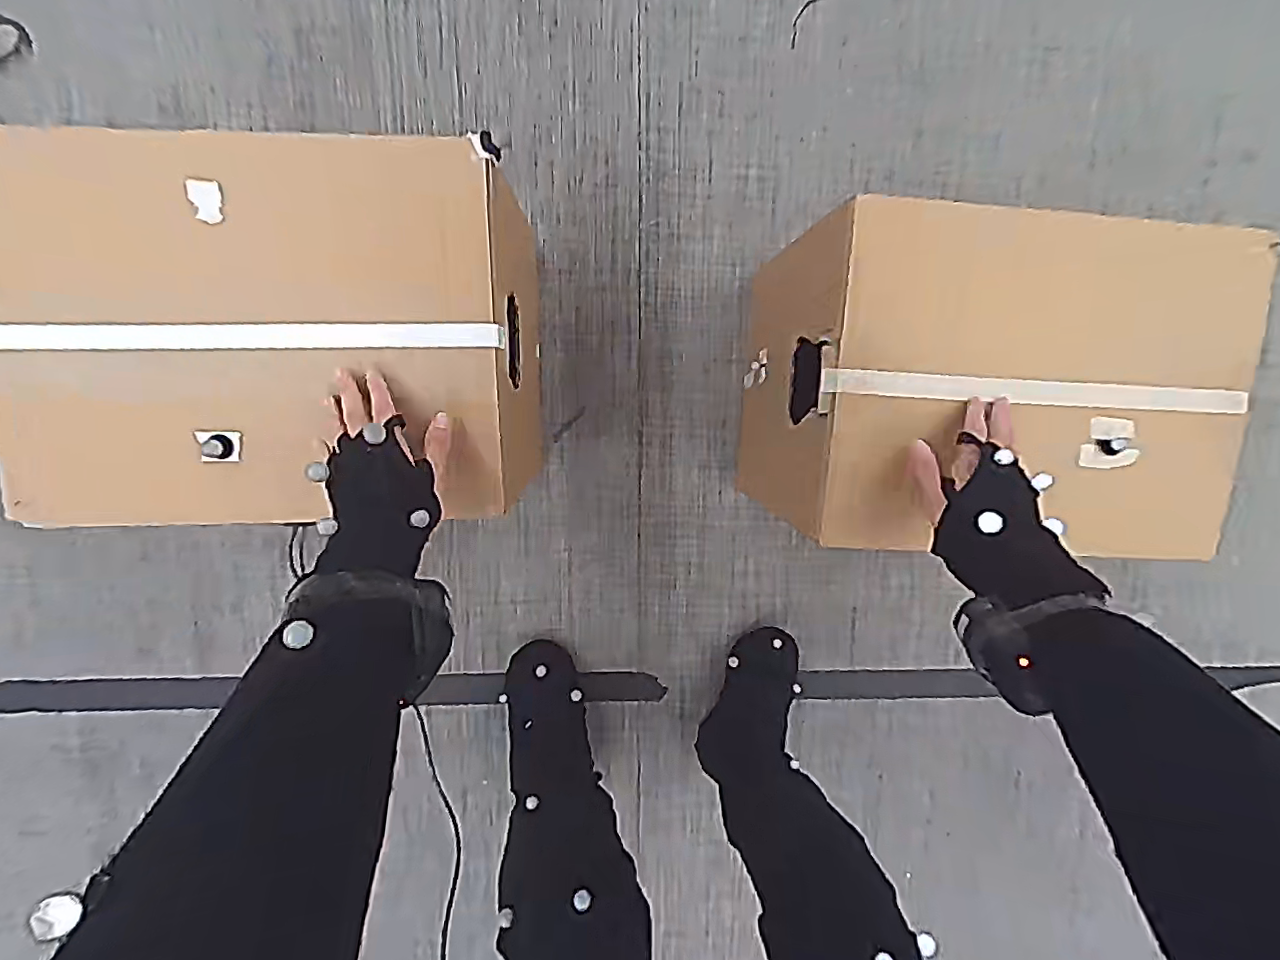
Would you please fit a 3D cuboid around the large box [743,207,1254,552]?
[{"bbox_3d":[0.365,-0.104,0.661,0.408,0.320,0.320,3,99,-5],"label":"large box"}]
